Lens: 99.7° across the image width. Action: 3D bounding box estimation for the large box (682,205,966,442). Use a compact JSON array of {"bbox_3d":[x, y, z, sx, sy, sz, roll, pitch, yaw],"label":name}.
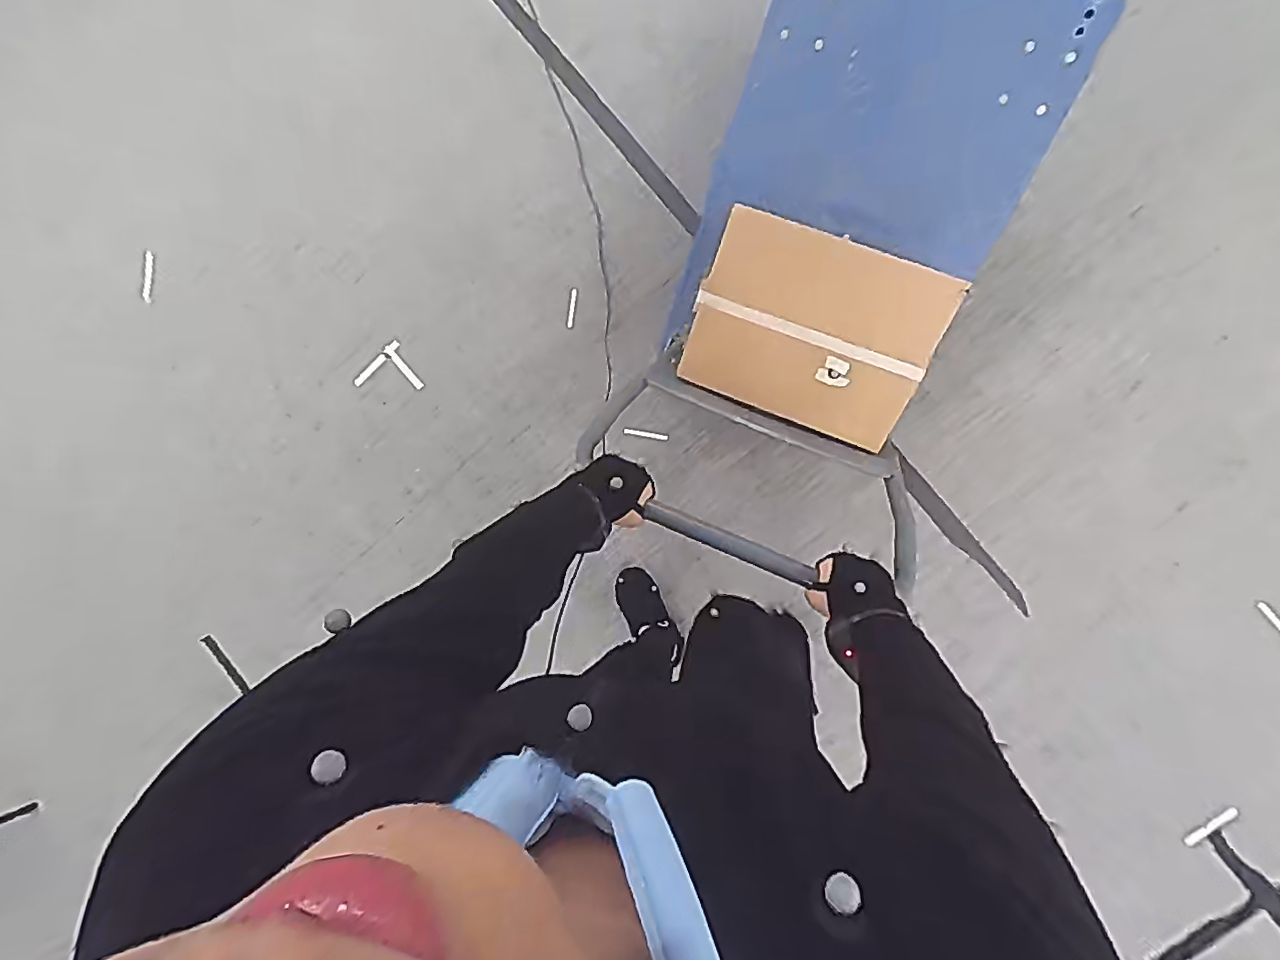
[{"bbox_3d":[0.340,-0.323,1.093,0.408,0.320,0.320,22,117,6],"label":"large box"}]
